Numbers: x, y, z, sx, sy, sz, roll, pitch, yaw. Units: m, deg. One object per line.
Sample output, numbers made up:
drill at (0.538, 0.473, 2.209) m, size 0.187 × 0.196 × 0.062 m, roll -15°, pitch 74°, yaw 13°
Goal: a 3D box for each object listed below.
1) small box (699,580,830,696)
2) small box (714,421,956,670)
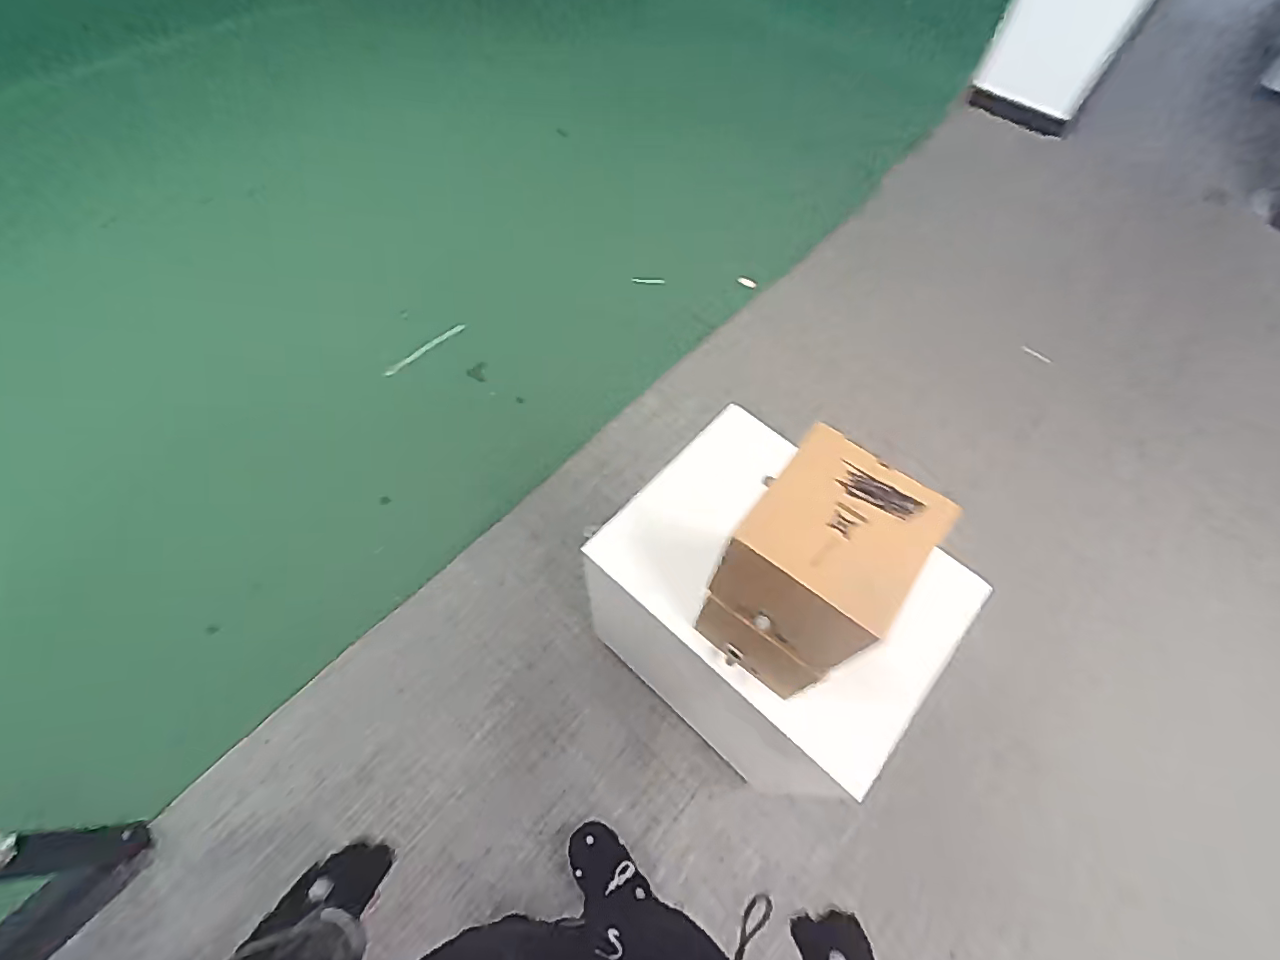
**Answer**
small box at (0.193, 0.162, 0.731) m, size 0.168 × 0.176 × 0.179 m, roll 34°, pitch 66°, yaw 18°
small box at (0.198, 0.076, 0.591) m, size 0.168 × 0.176 × 0.179 m, roll 33°, pitch 63°, yaw 16°
